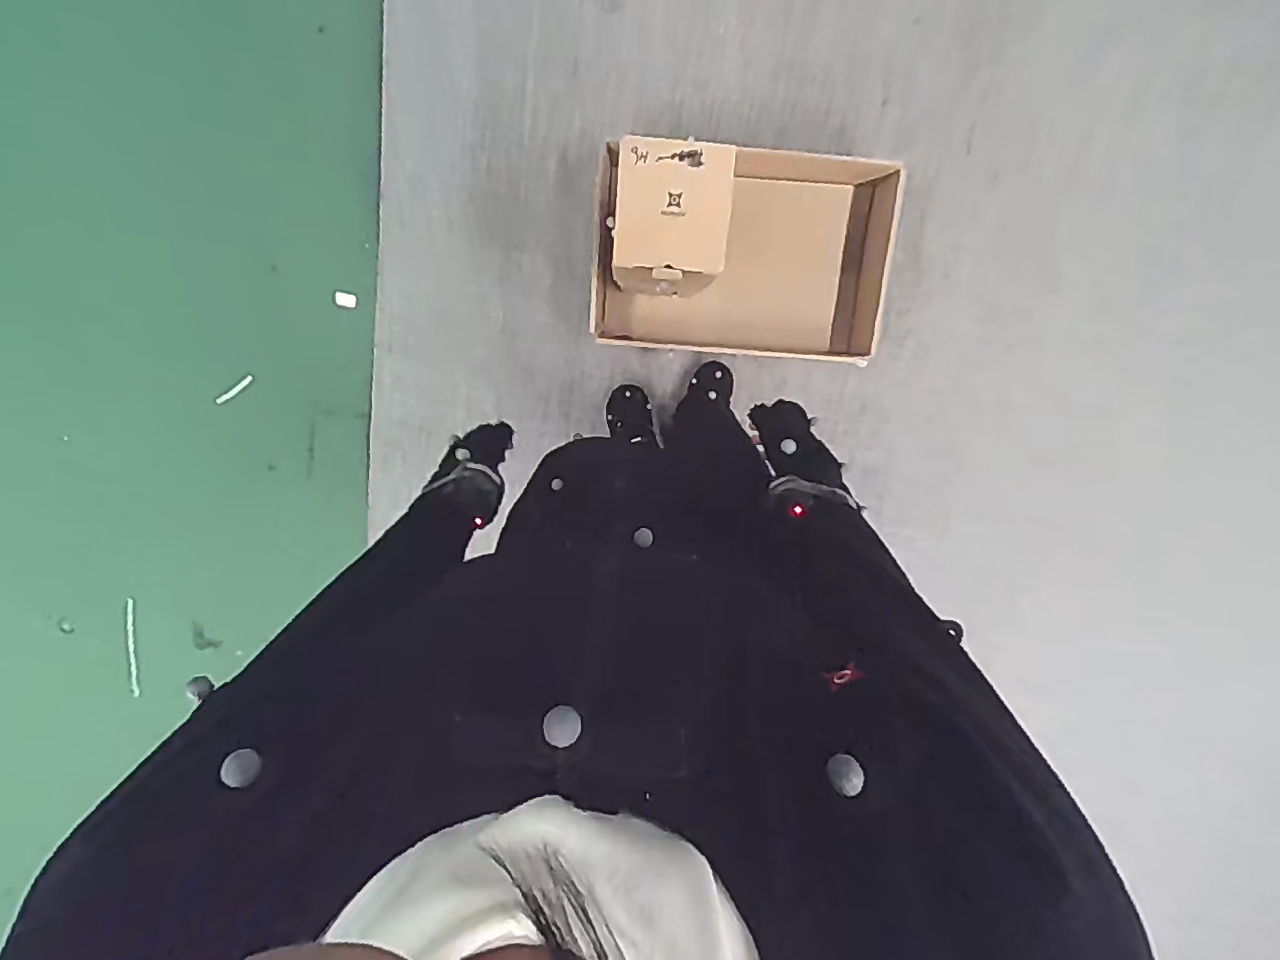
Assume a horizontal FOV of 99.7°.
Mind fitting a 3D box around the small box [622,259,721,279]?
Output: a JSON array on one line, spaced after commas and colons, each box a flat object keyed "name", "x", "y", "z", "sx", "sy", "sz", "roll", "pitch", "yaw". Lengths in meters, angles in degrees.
[{"name": "small box", "x": 0.062, "y": -0.476, "z": 1.011, "sx": 0.179, "sy": 0.176, "sz": 0.168, "roll": 5, "pitch": 104, "yaw": -1}]

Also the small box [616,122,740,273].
[{"name": "small box", "x": 0.054, "y": -0.431, "z": 0.854, "sx": 0.168, "sy": 0.176, "sz": 0.179, "roll": 4, "pitch": 105, "yaw": -1}]
